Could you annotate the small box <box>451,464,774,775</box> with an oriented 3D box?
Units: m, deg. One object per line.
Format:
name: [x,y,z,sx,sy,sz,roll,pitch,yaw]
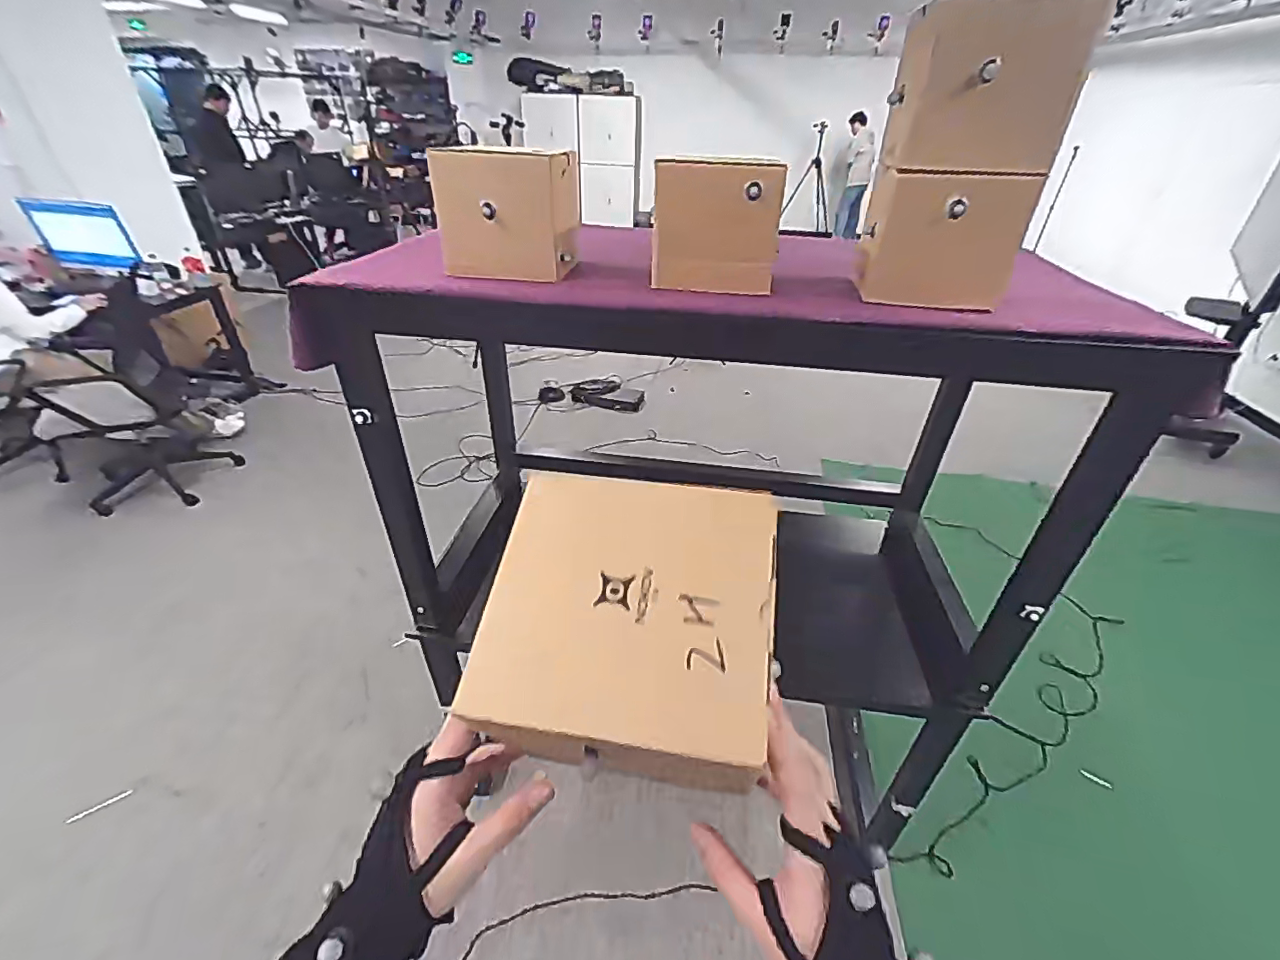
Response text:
small box: [-0.001,0.107,0.397,0.179,0.176,0.168,5,57,10]

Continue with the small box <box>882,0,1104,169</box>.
small box: [0.414,-0.484,0.673,0.179,0.176,0.168,6,35,10]

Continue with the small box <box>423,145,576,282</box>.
small box: [-0.199,-0.409,0.829,0.179,0.176,0.168,4,34,5]

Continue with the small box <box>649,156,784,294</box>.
small box: [0.108,-0.381,0.805,0.179,0.176,0.168,6,34,6]

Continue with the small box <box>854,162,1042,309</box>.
small box: [0.411,-0.347,0.763,0.179,0.176,0.168,8,35,10]
